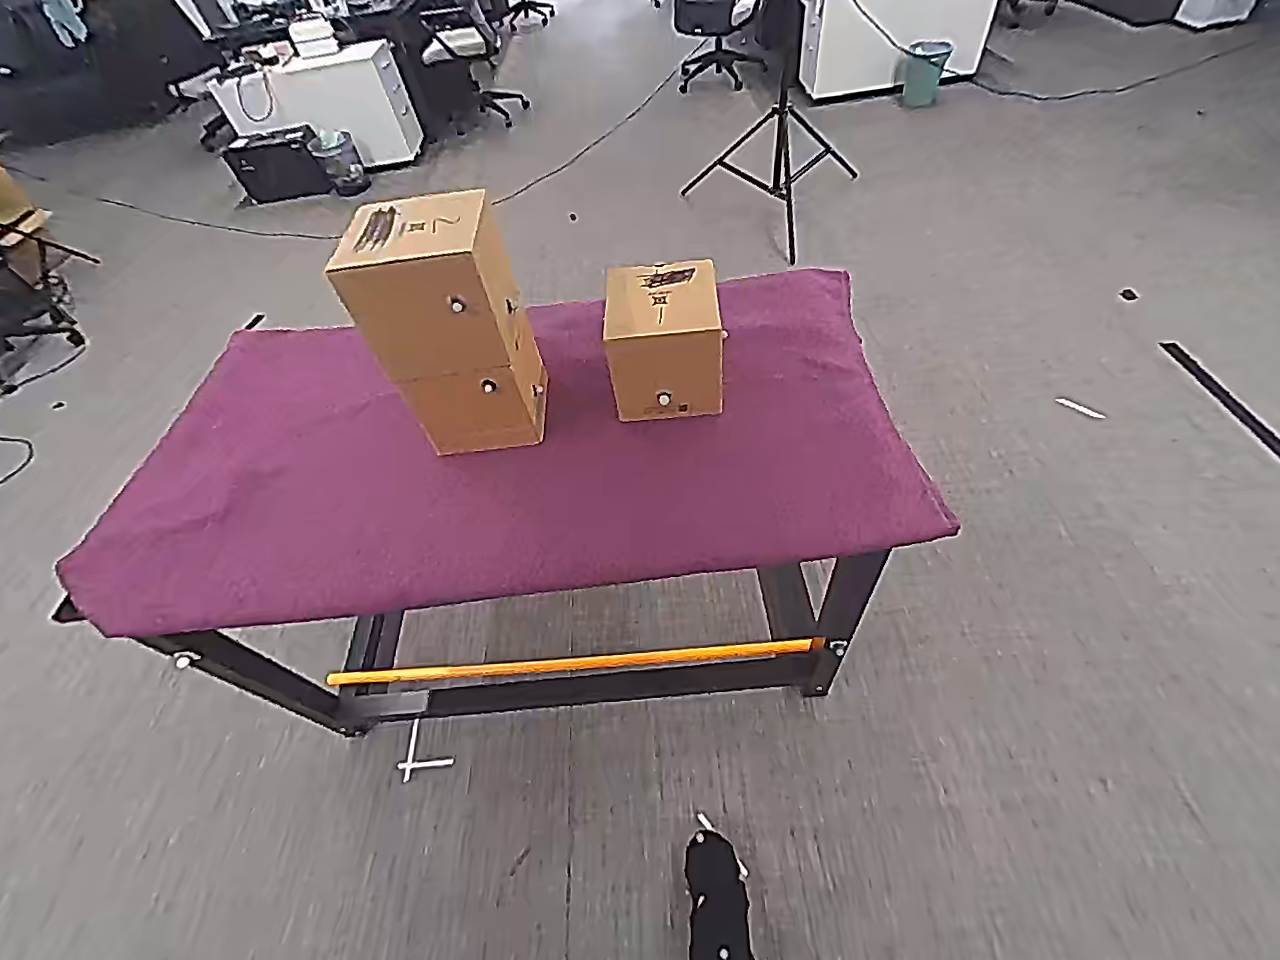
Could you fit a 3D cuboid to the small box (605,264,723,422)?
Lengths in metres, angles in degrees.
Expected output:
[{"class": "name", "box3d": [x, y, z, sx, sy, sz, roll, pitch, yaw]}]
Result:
[{"class": "small box", "box3d": [0.041, -0.214, 0.858, 0.168, 0.176, 0.179, -4, 52, 6]}]

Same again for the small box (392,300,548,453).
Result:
[{"class": "small box", "box3d": [-0.257, -0.159, 0.861, 0.179, 0.176, 0.168, -6, 51, 3]}]
